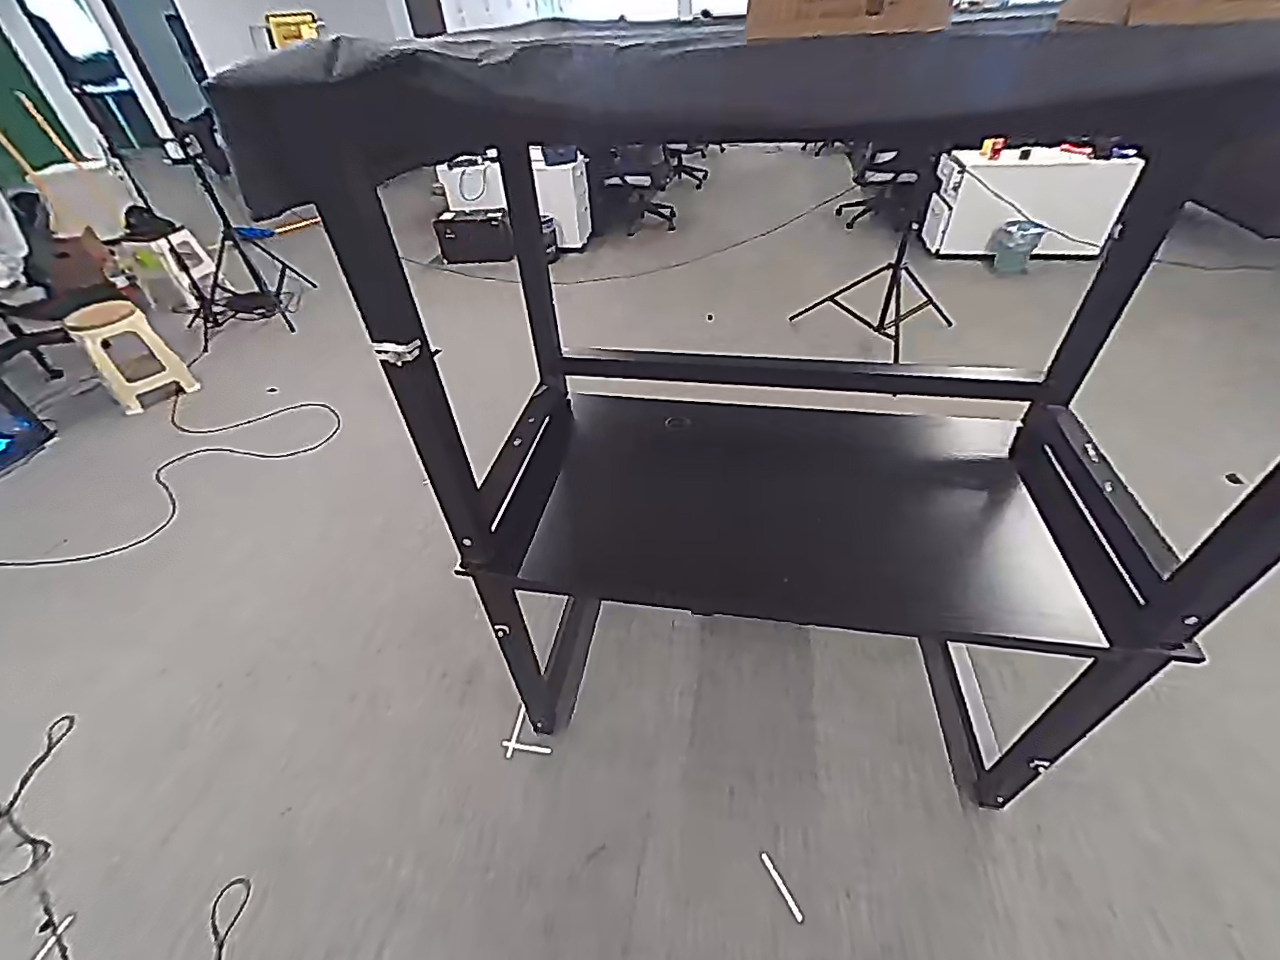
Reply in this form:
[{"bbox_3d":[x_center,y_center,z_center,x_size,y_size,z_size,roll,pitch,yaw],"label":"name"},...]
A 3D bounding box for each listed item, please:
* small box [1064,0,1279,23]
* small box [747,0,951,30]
[{"bbox_3d":[0.479,-0.471,0.418,0.168,0.176,0.179,8,41,12],"label":"small box"},{"bbox_3d":[0.184,-0.495,0.461,0.168,0.176,0.179,5,40,10],"label":"small box"}]
